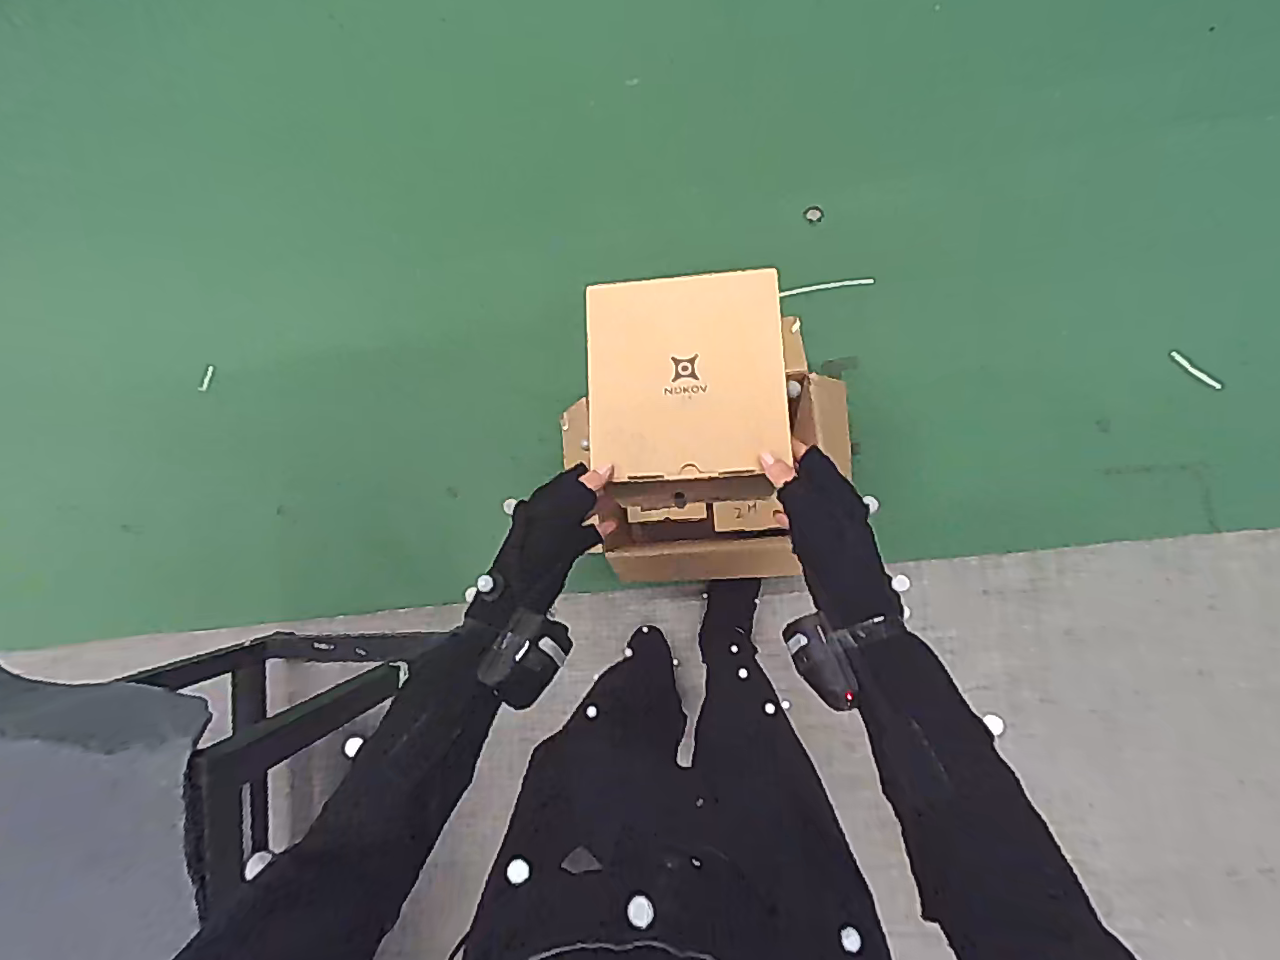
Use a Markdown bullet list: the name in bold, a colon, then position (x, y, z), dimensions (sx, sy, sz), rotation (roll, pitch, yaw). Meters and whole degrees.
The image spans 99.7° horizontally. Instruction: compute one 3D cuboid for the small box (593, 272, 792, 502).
- **small box**: position (0.048, -0.078, 0.536), dimensions (0.168, 0.176, 0.179), rotation (-3, 81, 6)
